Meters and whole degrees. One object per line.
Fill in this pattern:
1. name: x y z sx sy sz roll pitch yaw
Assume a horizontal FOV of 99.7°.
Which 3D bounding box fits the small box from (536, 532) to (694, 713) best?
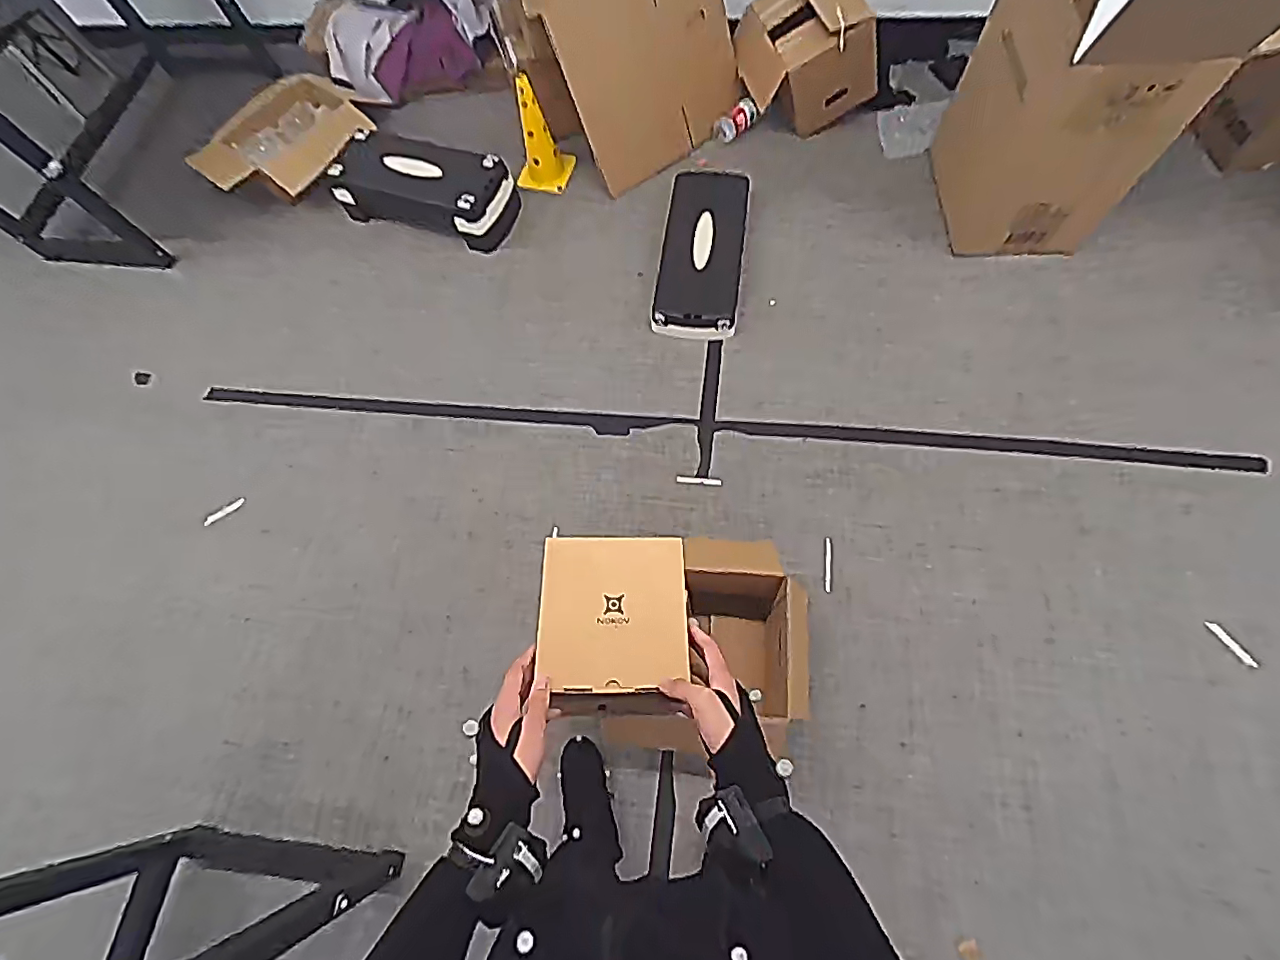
1. small box: -0.030 0.179 0.664 0.168 0.176 0.179 1 59 -3
